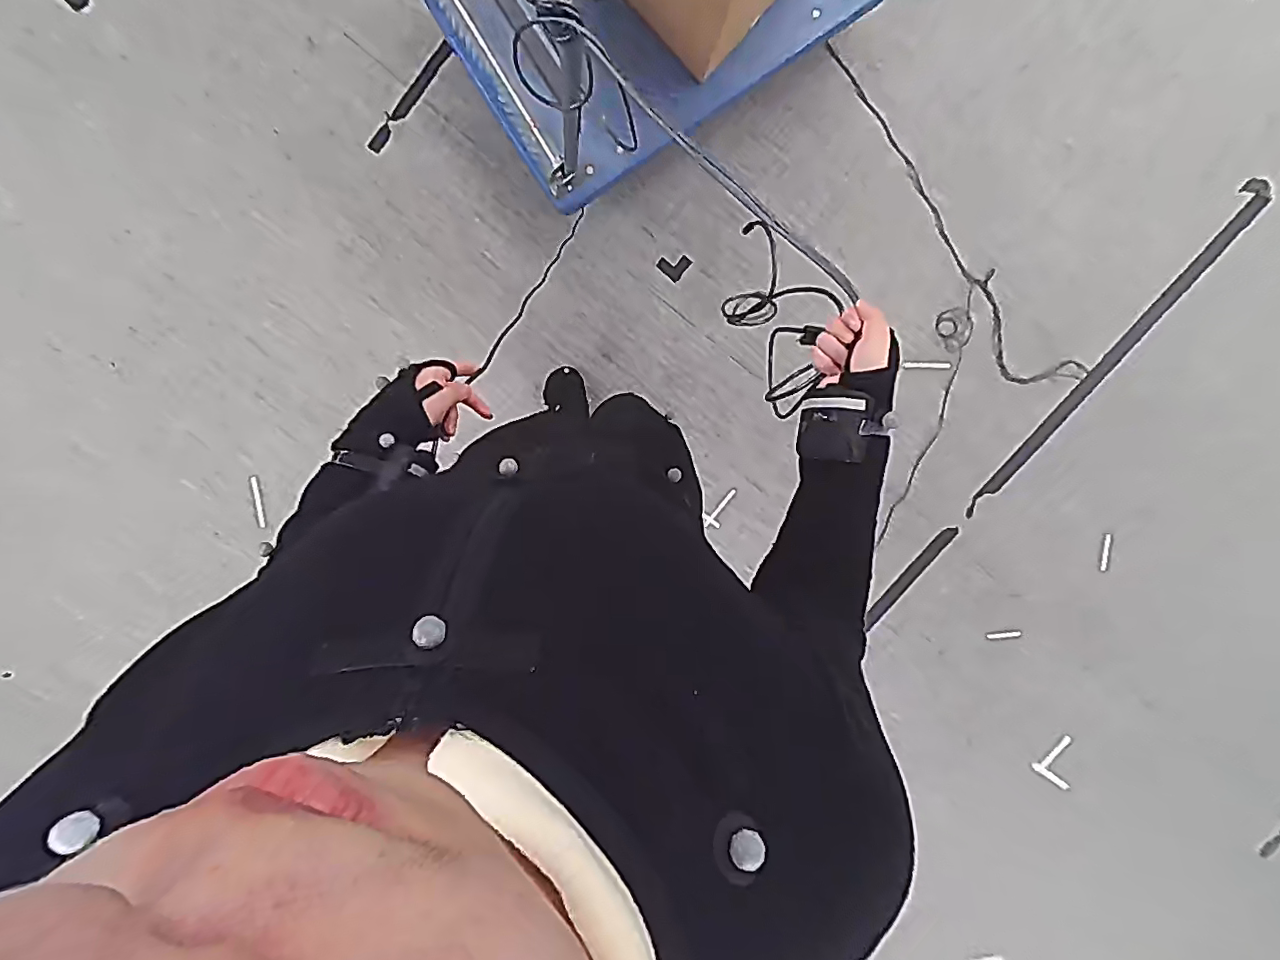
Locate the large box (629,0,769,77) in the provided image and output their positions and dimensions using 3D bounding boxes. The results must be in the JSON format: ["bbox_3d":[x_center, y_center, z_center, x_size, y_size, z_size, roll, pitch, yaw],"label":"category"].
[{"bbox_3d":[0.099,-1.061,0.958,0.408,0.320,0.320,42,97,-12],"label":"large box"}]
